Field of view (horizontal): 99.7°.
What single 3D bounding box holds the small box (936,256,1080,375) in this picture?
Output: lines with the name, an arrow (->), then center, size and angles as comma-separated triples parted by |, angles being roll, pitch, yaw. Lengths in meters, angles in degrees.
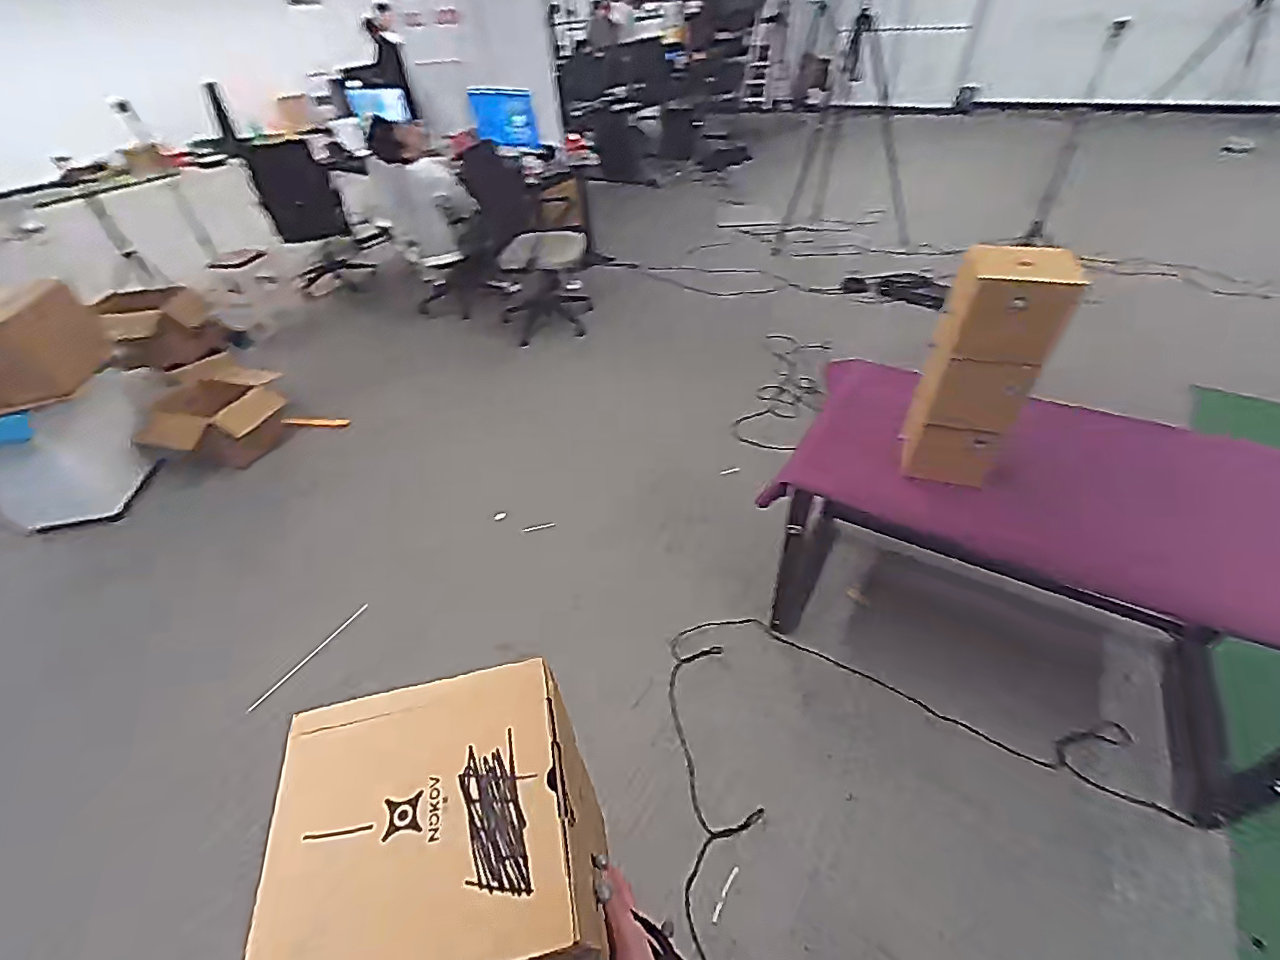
small box -> 0.717, -0.326, 1.076 | 0.179, 0.176, 0.168 | 9, 44, 14

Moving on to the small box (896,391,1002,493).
small box -> 0.732, -0.090, 1.302 | 0.179, 0.176, 0.168 | 10, 43, 15

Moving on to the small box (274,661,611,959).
small box -> -0.117, 0.255, 0.387 | 0.179, 0.176, 0.168 | -9, 47, -7
